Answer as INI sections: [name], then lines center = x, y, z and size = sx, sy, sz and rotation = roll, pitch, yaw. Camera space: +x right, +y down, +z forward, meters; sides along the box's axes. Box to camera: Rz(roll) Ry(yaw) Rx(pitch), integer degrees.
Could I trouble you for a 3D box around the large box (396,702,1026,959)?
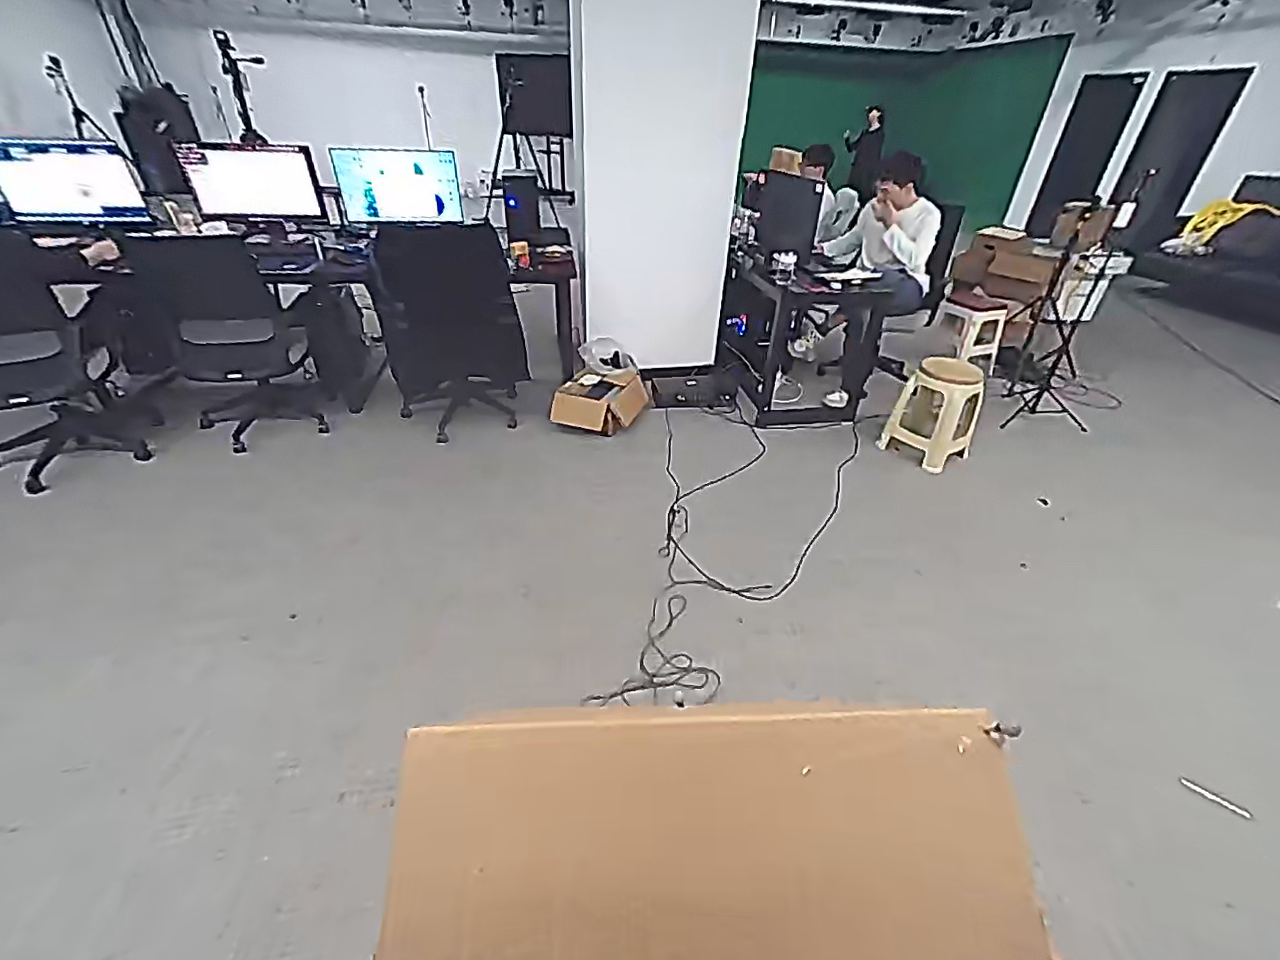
[large box]
center = 0.040, 0.369, 0.469
size = 0.408, 0.320, 0.320
rotation = -1, 70, -4
